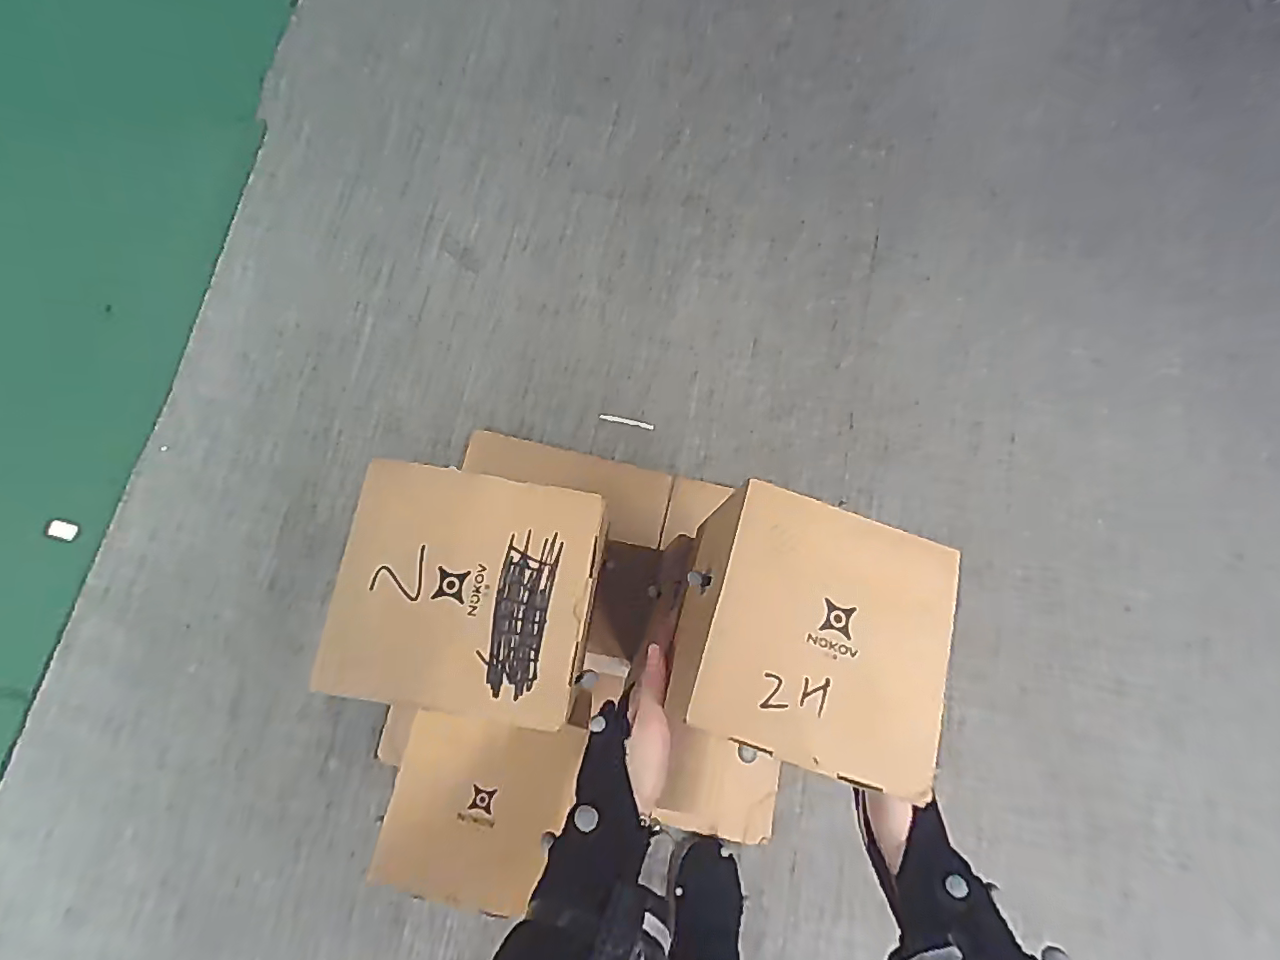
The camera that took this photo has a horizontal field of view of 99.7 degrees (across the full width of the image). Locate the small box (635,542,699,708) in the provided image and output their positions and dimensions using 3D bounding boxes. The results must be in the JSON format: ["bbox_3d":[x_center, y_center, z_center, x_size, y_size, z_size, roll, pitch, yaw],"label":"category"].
[{"bbox_3d":[0.099,0.177,0.616,0.179,0.176,0.168,17,78,2],"label":"small box"}]

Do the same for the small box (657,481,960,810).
[{"bbox_3d":[0.122,0.129,0.441,0.168,0.176,0.179,20,70,0],"label":"small box"}]
